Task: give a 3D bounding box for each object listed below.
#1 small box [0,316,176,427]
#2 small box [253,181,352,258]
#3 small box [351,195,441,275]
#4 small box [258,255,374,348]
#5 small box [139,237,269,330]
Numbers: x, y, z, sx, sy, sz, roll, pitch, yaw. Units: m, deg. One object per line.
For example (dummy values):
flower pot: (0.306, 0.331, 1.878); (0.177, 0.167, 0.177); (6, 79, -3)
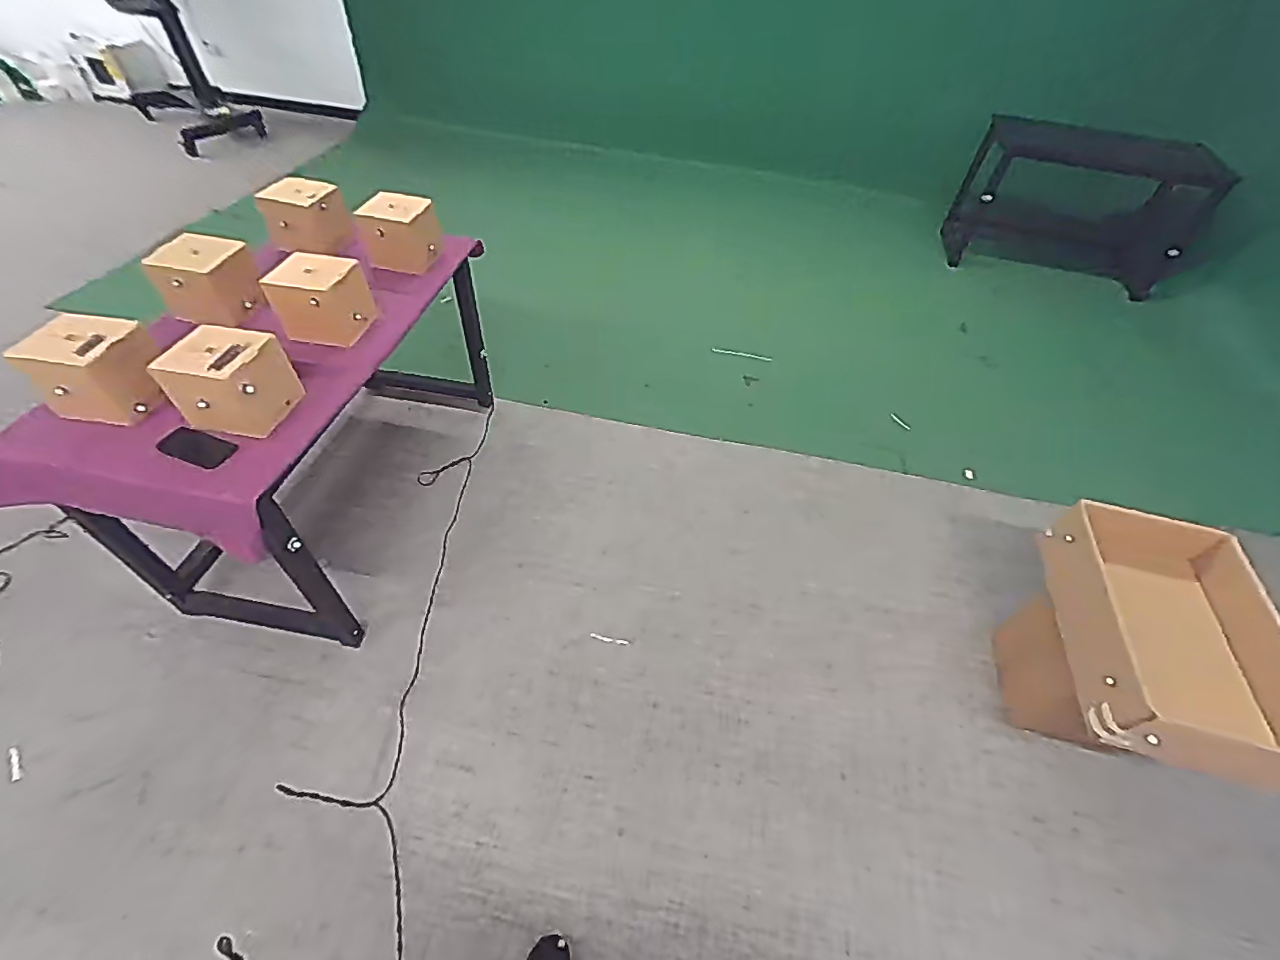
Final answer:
small box: (-1.191, -0.236, 1.188); (0.179, 0.176, 0.168); (6, 48, 2)
small box: (-1.062, -0.821, 1.715); (0.179, 0.176, 0.168); (12, 50, 6)
small box: (-0.751, -0.760, 1.684); (0.179, 0.176, 0.168); (12, 50, 5)
small box: (-0.841, -0.468, 1.425); (0.179, 0.176, 0.168); (8, 48, 3)
small box: (-1.154, -0.523, 1.447); (0.179, 0.176, 0.168); (10, 49, 3)
